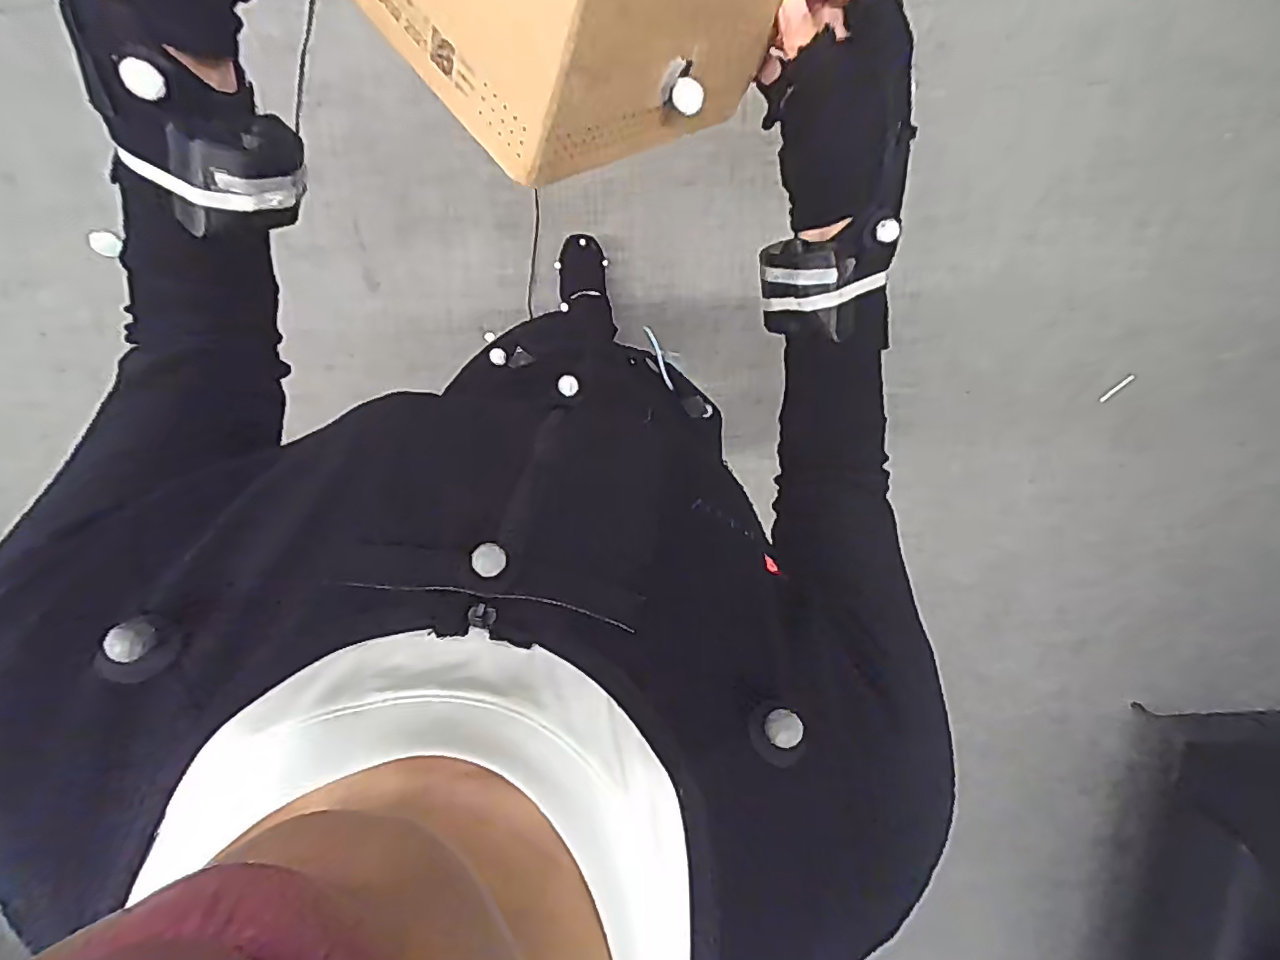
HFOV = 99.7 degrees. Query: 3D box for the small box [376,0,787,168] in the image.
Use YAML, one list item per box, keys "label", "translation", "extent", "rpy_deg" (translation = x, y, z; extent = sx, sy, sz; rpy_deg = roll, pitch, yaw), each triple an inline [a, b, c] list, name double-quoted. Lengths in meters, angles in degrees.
- label: "small box"
  translation: [-0.018, -0.280, 0.237]
  extent: [0.168, 0.176, 0.179]
  rpy_deg: [49, 58, 1]
